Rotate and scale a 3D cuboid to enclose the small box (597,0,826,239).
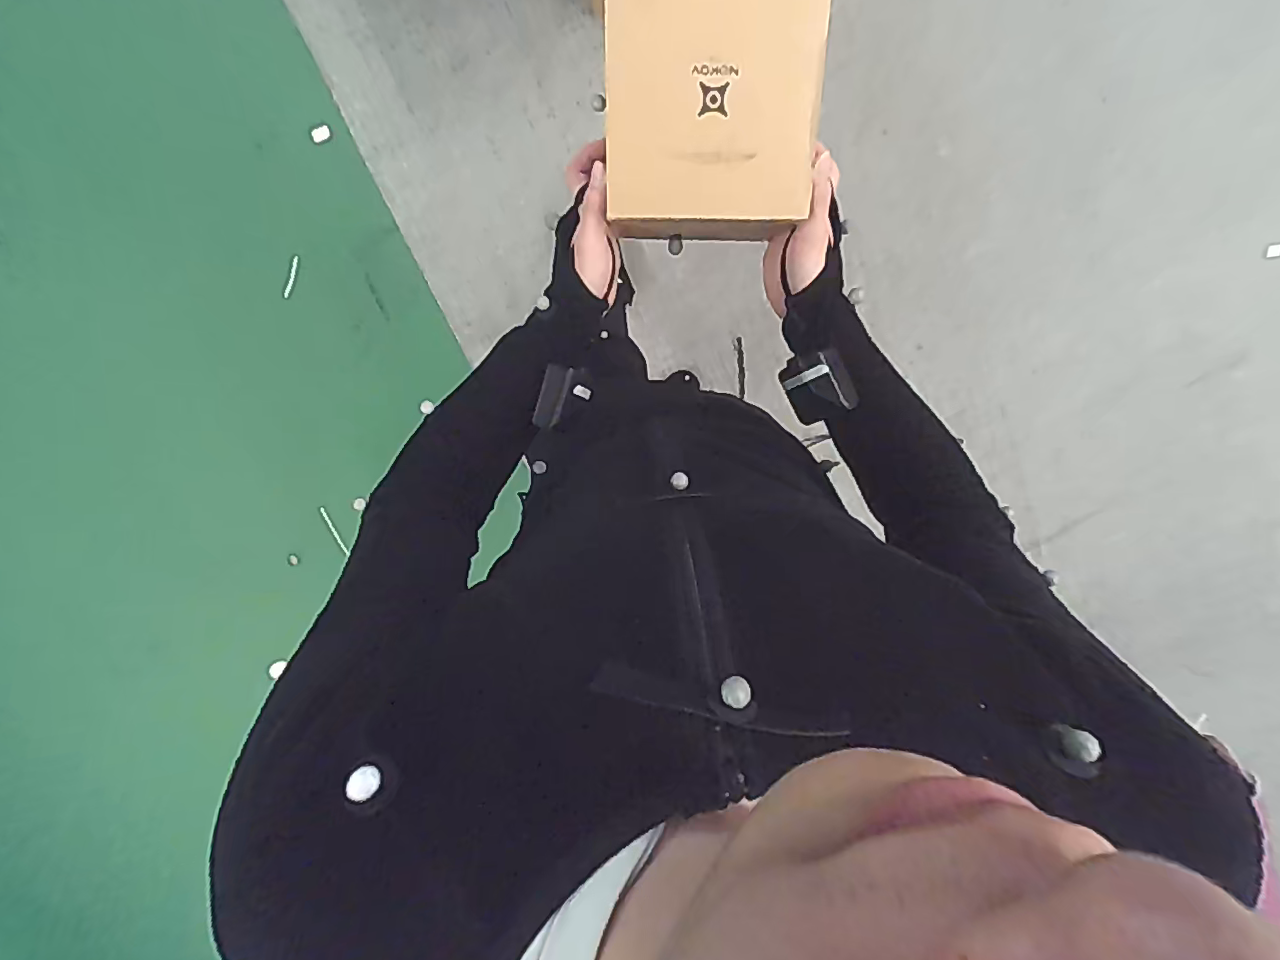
[{"bbox_3d":[0.049,-0.319,0.474,0.168,0.176,0.179,1,108,0],"label":"small box"}]
